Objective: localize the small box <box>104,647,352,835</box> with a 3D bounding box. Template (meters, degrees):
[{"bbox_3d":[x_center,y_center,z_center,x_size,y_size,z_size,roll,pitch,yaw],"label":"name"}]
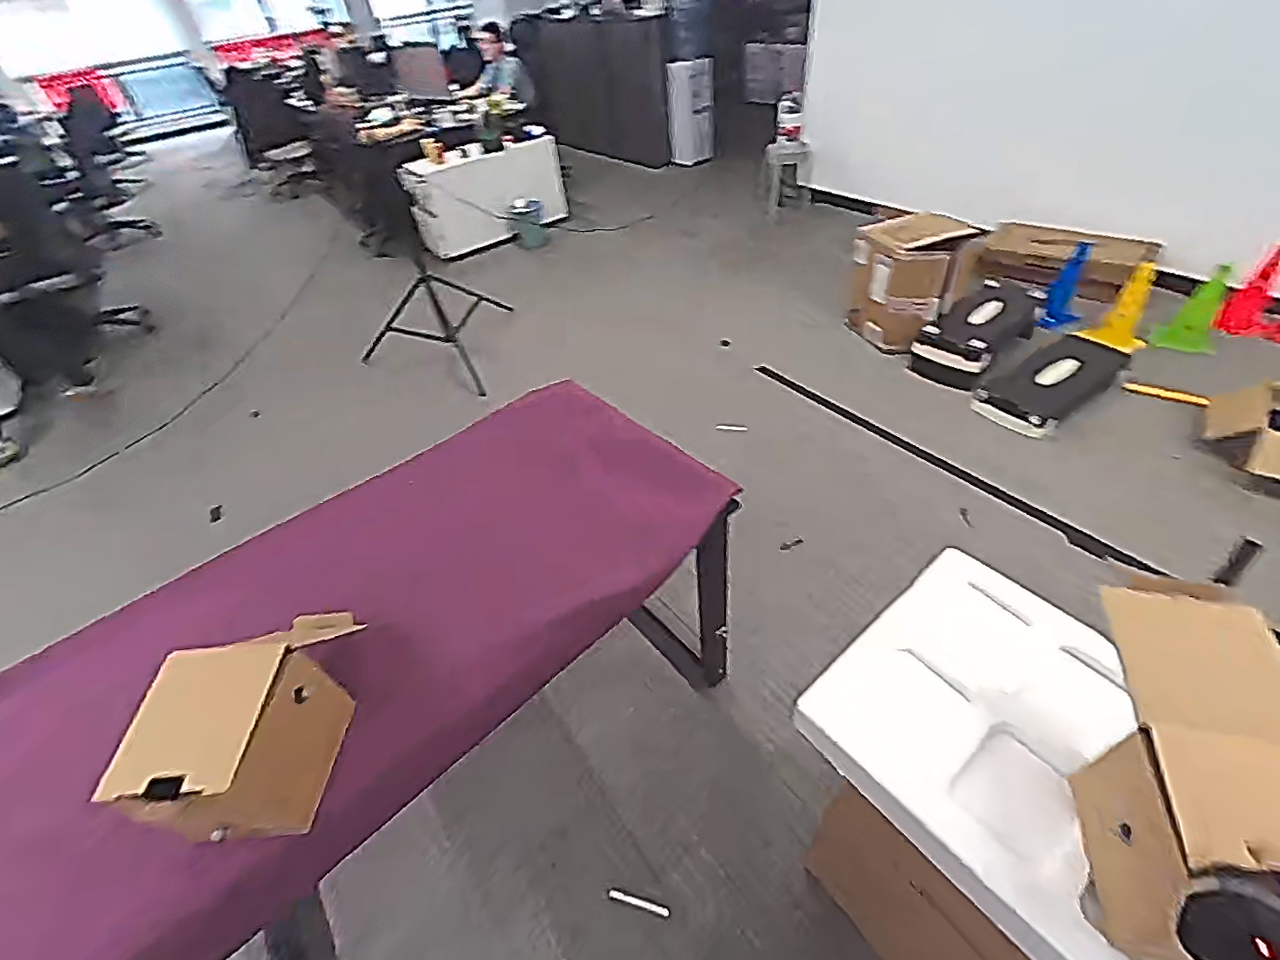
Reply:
[{"bbox_3d":[-0.519,0.347,0.721,0.168,0.176,0.179,-6,43,5],"label":"small box"}]
